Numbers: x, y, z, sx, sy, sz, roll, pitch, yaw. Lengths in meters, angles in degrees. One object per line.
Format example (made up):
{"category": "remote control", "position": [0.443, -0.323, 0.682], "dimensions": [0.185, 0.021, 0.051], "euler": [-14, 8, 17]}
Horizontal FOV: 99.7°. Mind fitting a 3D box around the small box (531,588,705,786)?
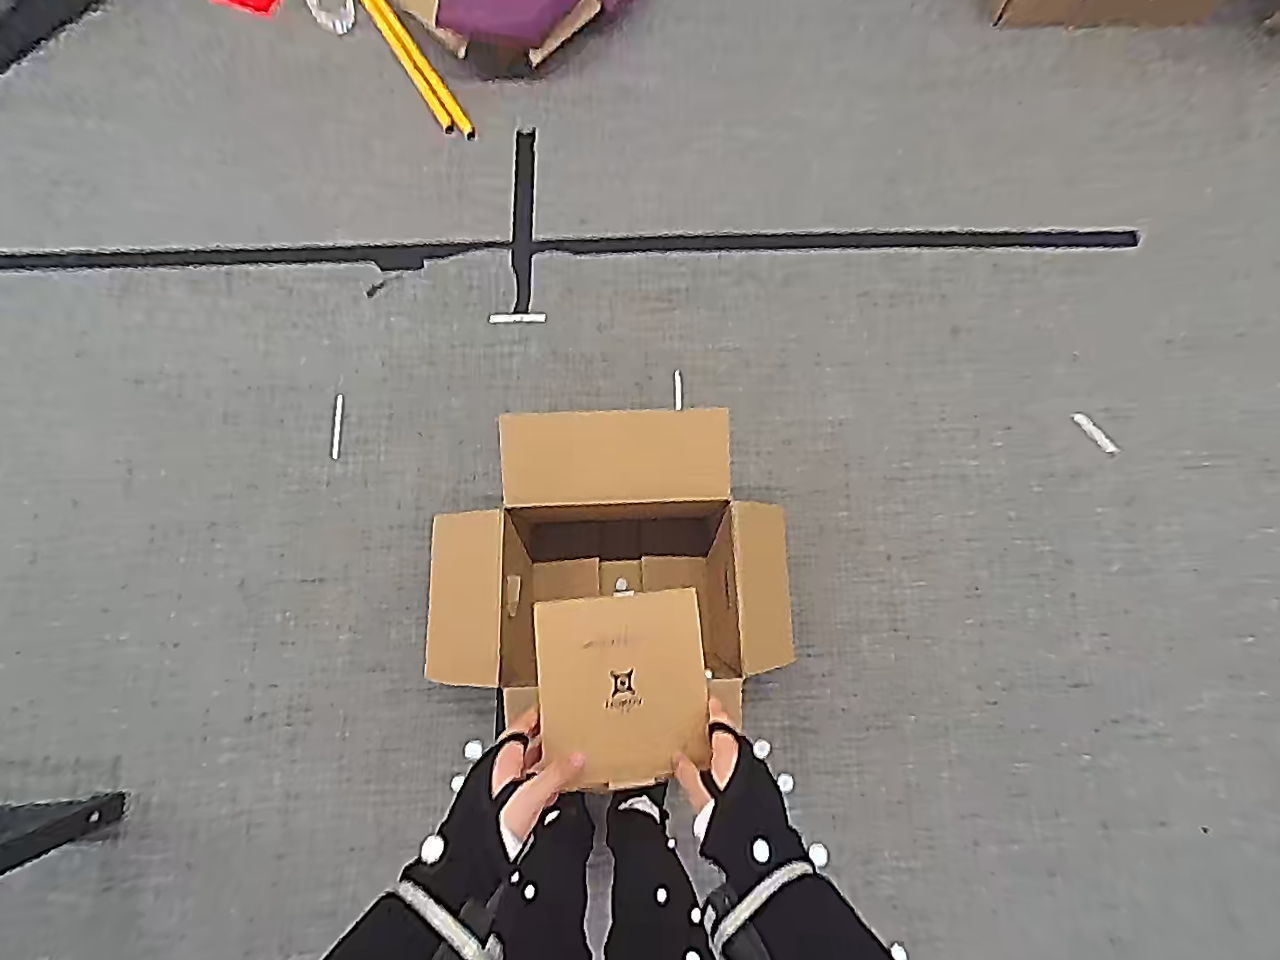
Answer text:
{"category": "small box", "position": [-0.029, 0.219, 0.619], "dimensions": [0.168, 0.176, 0.179], "euler": [-5, 78, -6]}
